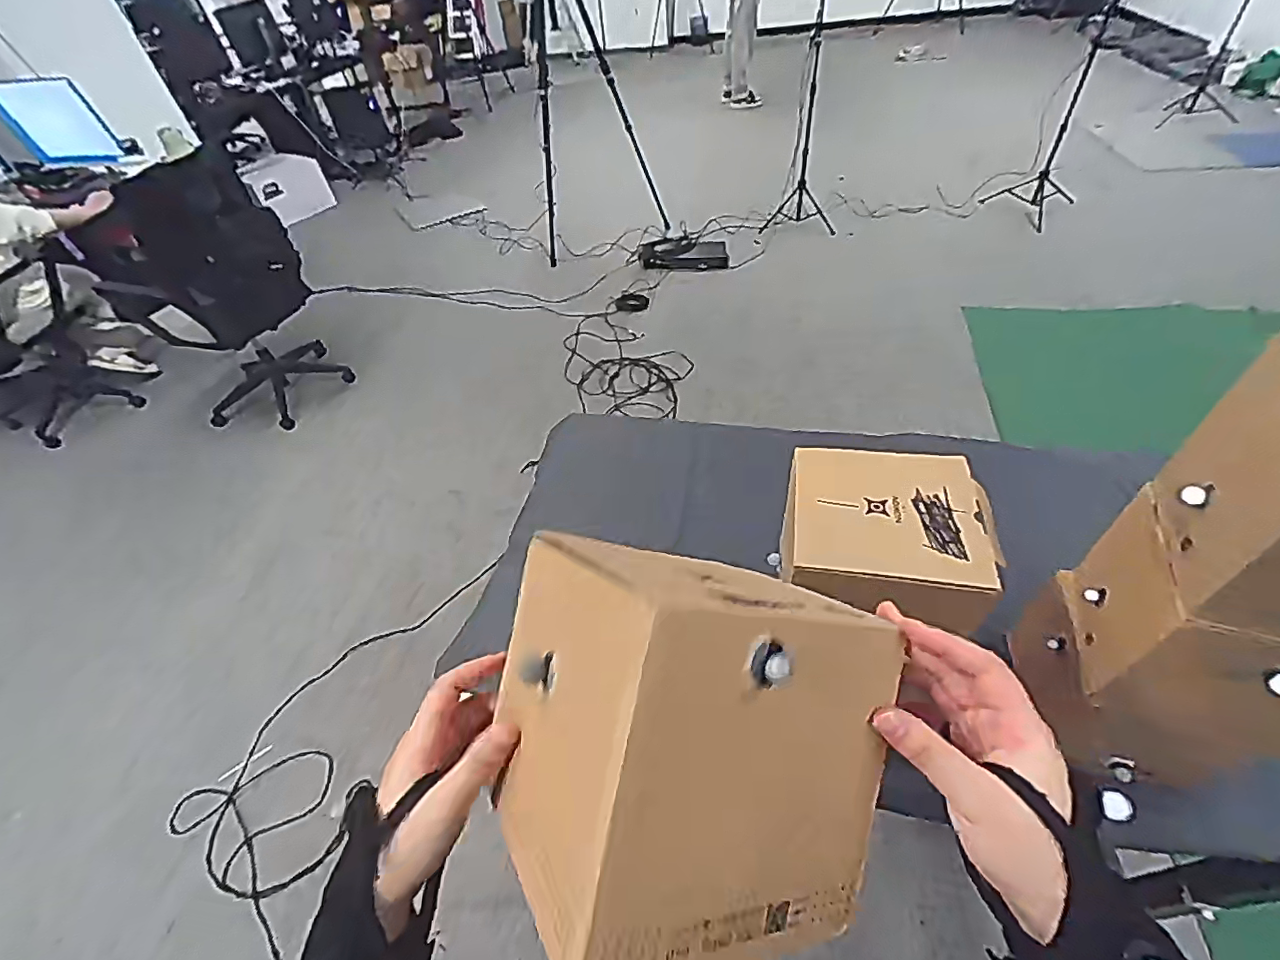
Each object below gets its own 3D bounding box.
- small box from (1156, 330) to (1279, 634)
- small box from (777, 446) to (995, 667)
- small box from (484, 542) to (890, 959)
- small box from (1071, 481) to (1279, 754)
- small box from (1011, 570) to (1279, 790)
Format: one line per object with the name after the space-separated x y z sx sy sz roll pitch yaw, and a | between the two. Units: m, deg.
0.536 0.015 0.390 0.179 0.176 0.168 14 49 22 | small box
0.245 0.085 0.589 0.179 0.176 0.168 5 47 13 | small box
0.013 0.143 0.329 0.168 0.176 0.179 10 -1 -28 | small box
0.550 0.130 0.507 0.179 0.176 0.168 13 49 21 | small box
0.570 0.232 0.633 0.168 0.176 0.179 4 48 13 | small box
